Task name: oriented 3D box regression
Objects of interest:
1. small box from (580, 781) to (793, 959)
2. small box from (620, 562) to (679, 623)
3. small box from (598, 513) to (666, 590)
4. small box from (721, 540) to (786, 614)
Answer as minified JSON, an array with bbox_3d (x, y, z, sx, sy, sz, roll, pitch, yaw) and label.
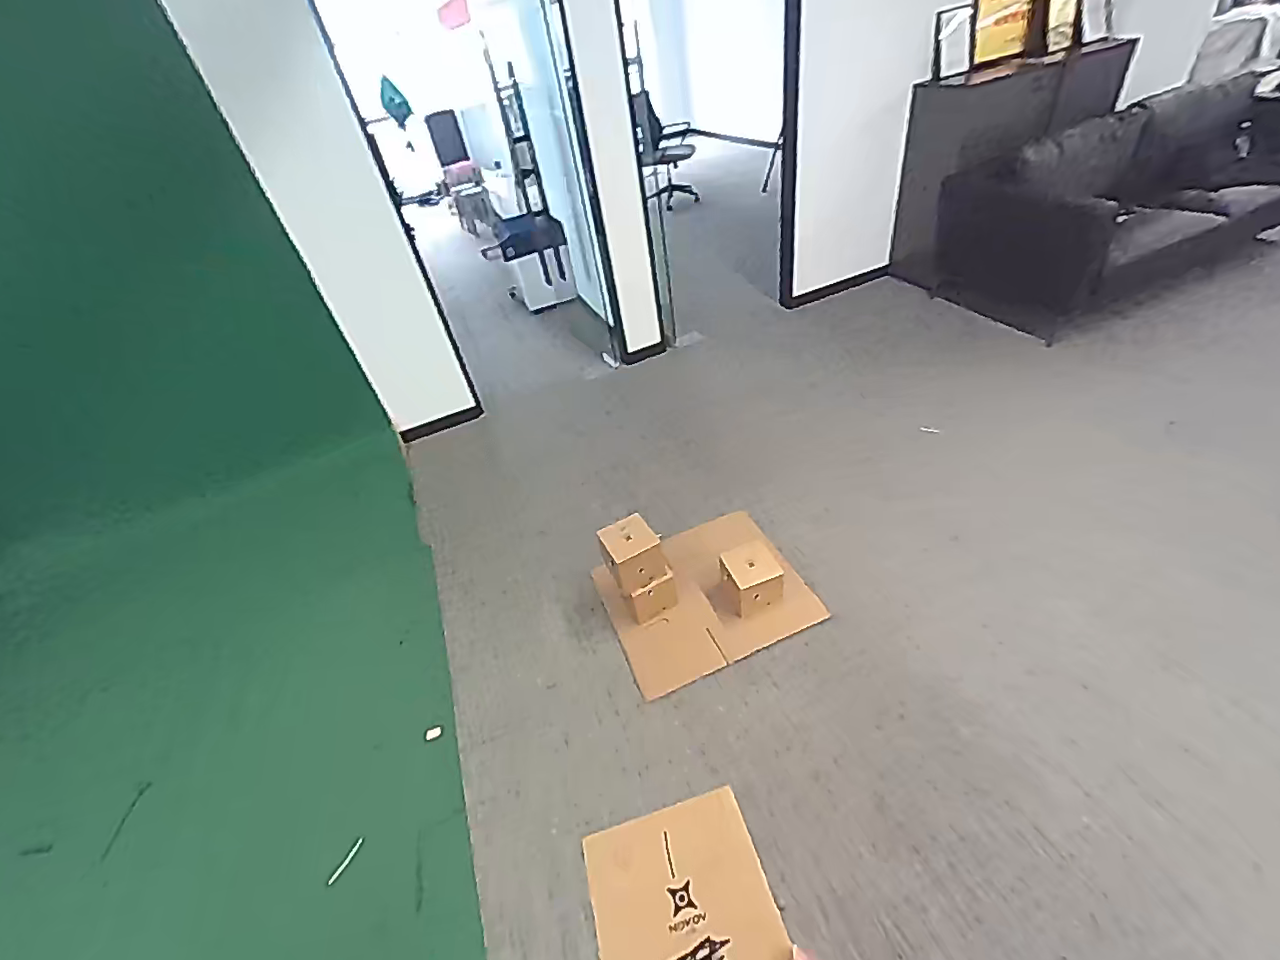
[{"bbox_3d":[0.050,0.447,0.543,0.168,0.176,0.179,-16,38,-6],"label":"small box"},{"bbox_3d":[0.026,0.378,1.952,0.168,0.176,0.179,-25,41,-16],"label":"small box"},{"bbox_3d":[-0.023,0.252,1.854,0.168,0.176,0.179,-24,41,-16],"label":"small box"},{"bbox_3d":[0.398,0.347,1.896,0.168,0.176,0.179,-19,39,-8],"label":"small box"}]
